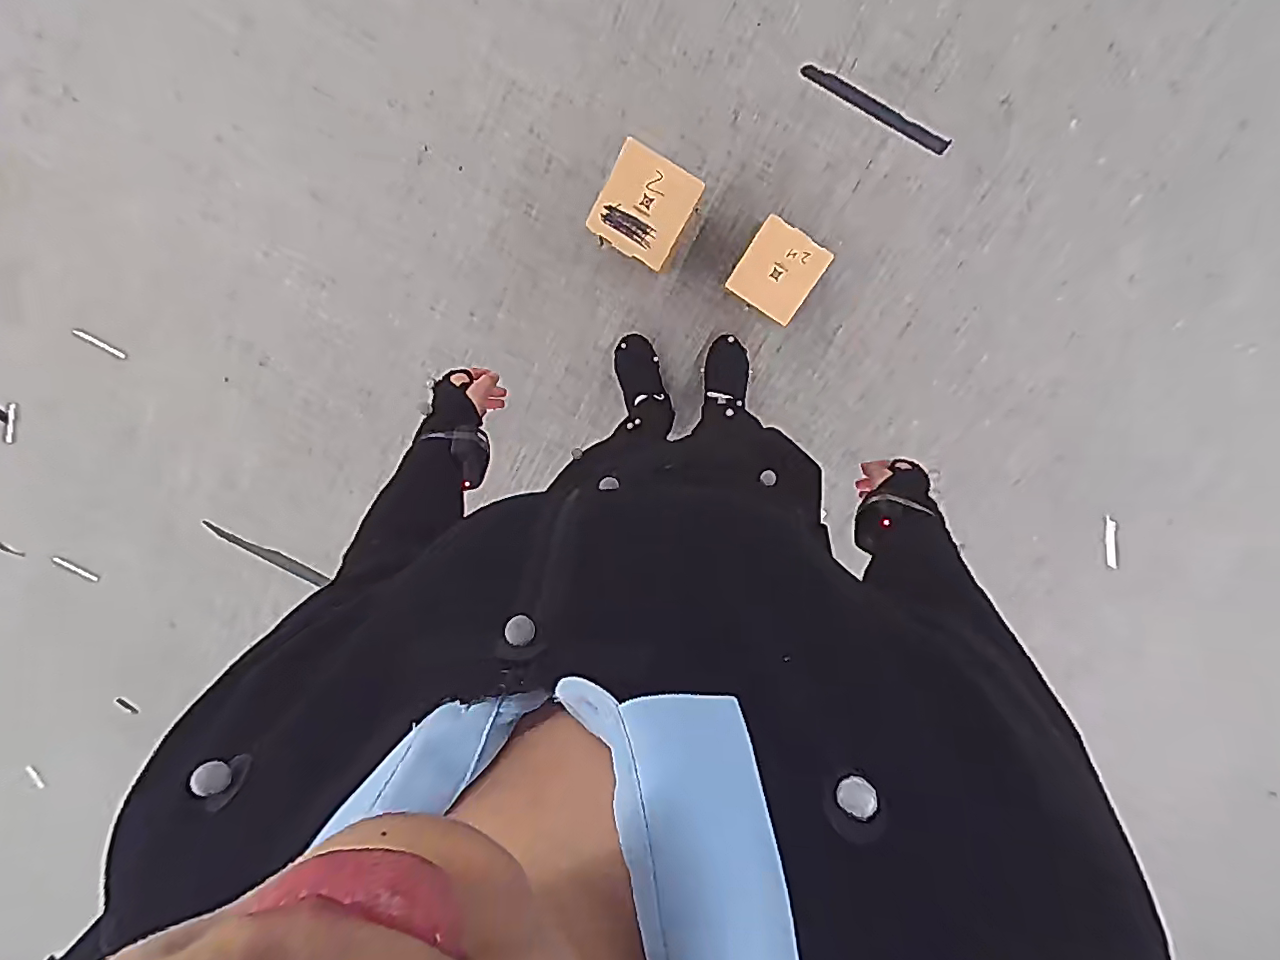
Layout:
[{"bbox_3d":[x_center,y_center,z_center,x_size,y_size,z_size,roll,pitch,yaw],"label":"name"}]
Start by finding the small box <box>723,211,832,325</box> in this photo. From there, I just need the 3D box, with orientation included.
[{"bbox_3d":[0.303,-0.475,1.232,0.168,0.176,0.179,32,108,-6],"label":"small box"}]

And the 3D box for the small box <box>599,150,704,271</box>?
[{"bbox_3d":[0.029,-0.597,1.221,0.168,0.176,0.179,31,109,-5],"label":"small box"}]
